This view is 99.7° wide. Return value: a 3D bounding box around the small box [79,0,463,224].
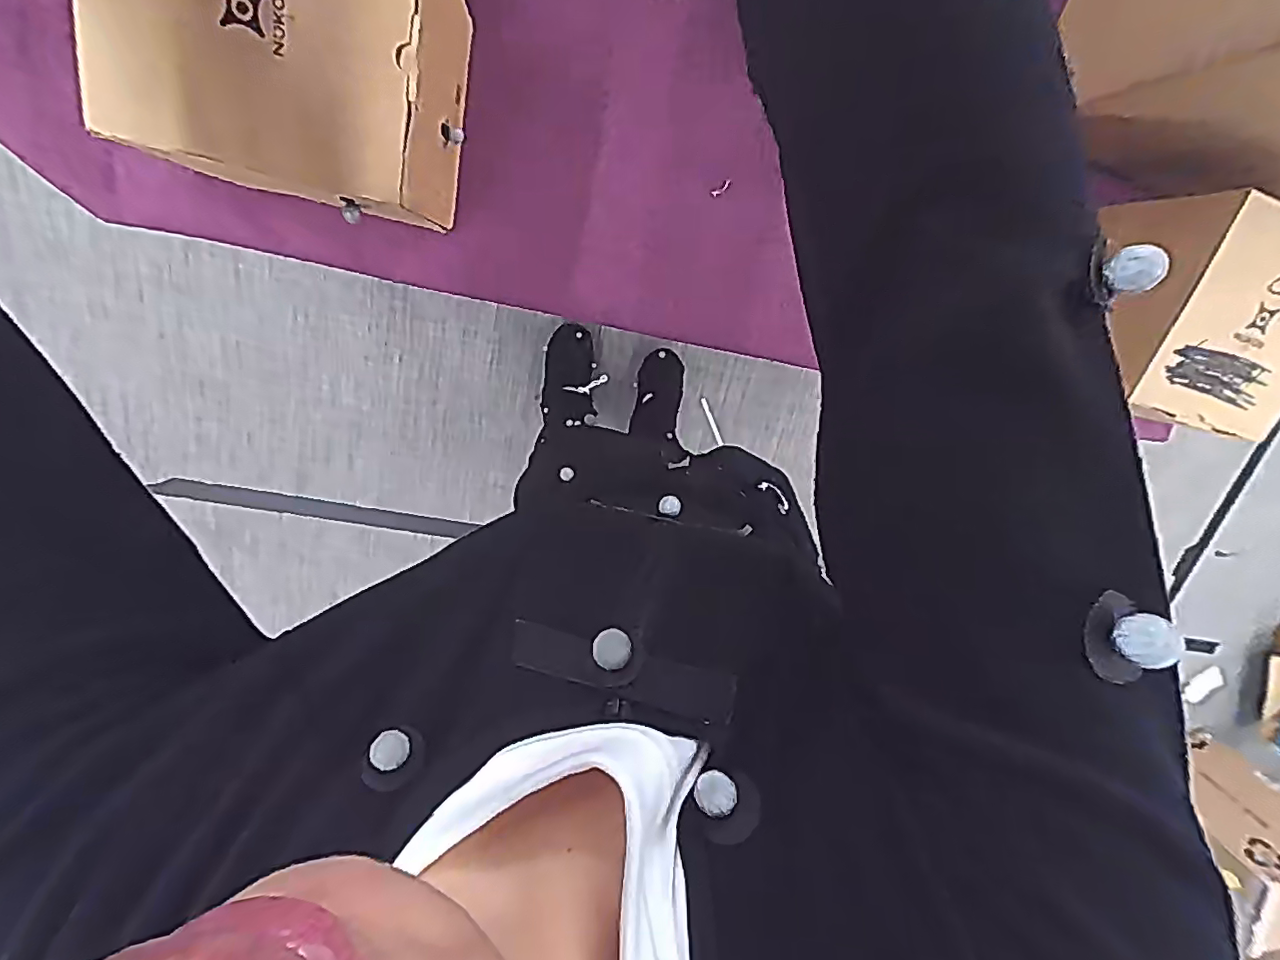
[{"bbox_3d":[-0.236,-0.294,0.387,0.179,0.176,0.168,8,108,-13],"label":"small box"}]
